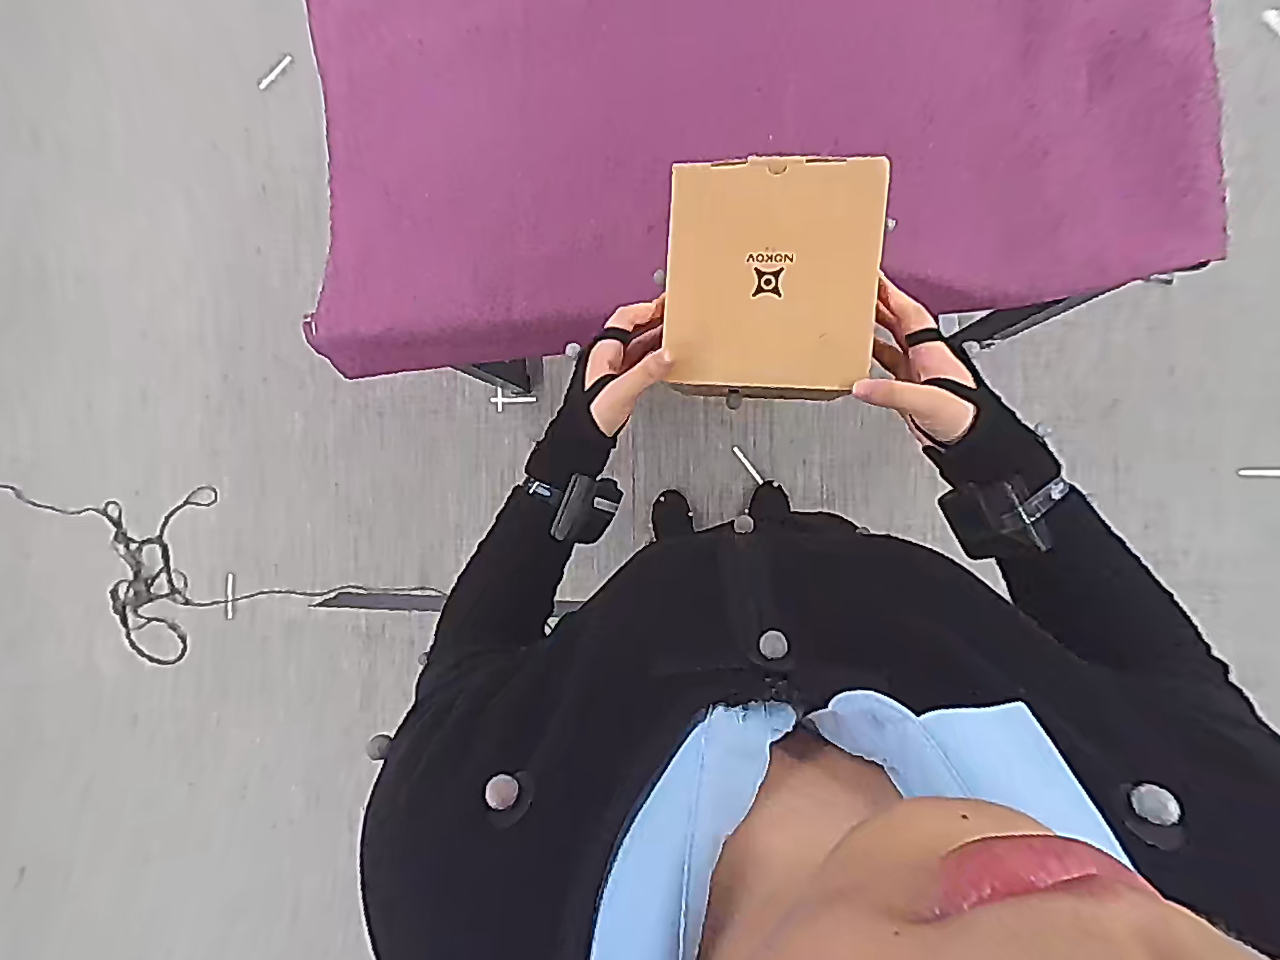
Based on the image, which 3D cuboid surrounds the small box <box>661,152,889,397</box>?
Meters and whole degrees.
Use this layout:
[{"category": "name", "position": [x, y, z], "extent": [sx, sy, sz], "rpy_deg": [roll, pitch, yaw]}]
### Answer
[{"category": "small box", "position": [0.118, -0.172, 0.505], "extent": [0.168, 0.176, 0.179], "rpy_deg": [4, 95, 11]}]
